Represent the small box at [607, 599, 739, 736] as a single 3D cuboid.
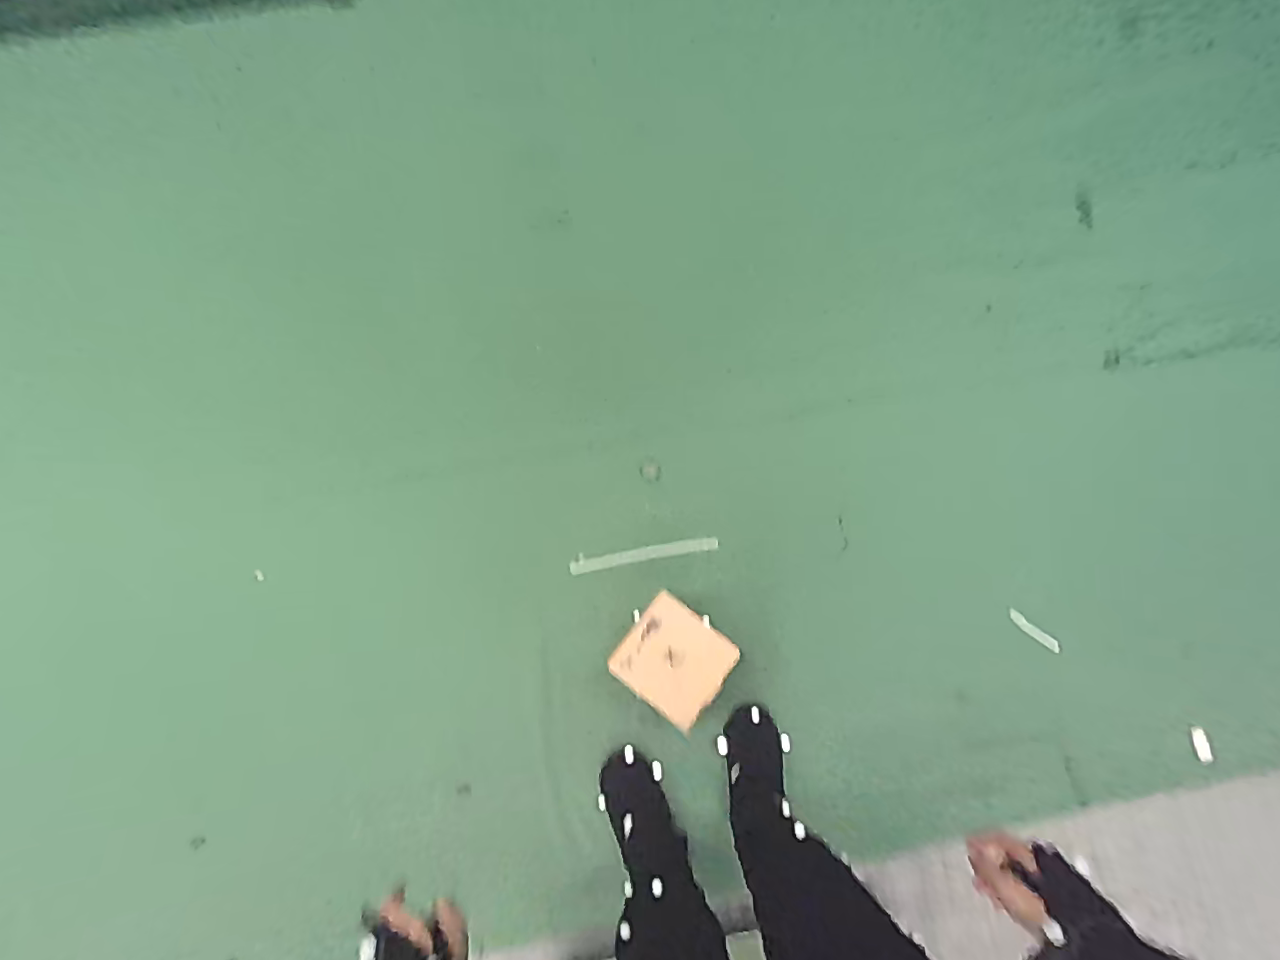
[{"bbox_3d":[0.056,0.338,1.017,0.179,0.176,0.168,38,79,6],"label":"small box"}]
